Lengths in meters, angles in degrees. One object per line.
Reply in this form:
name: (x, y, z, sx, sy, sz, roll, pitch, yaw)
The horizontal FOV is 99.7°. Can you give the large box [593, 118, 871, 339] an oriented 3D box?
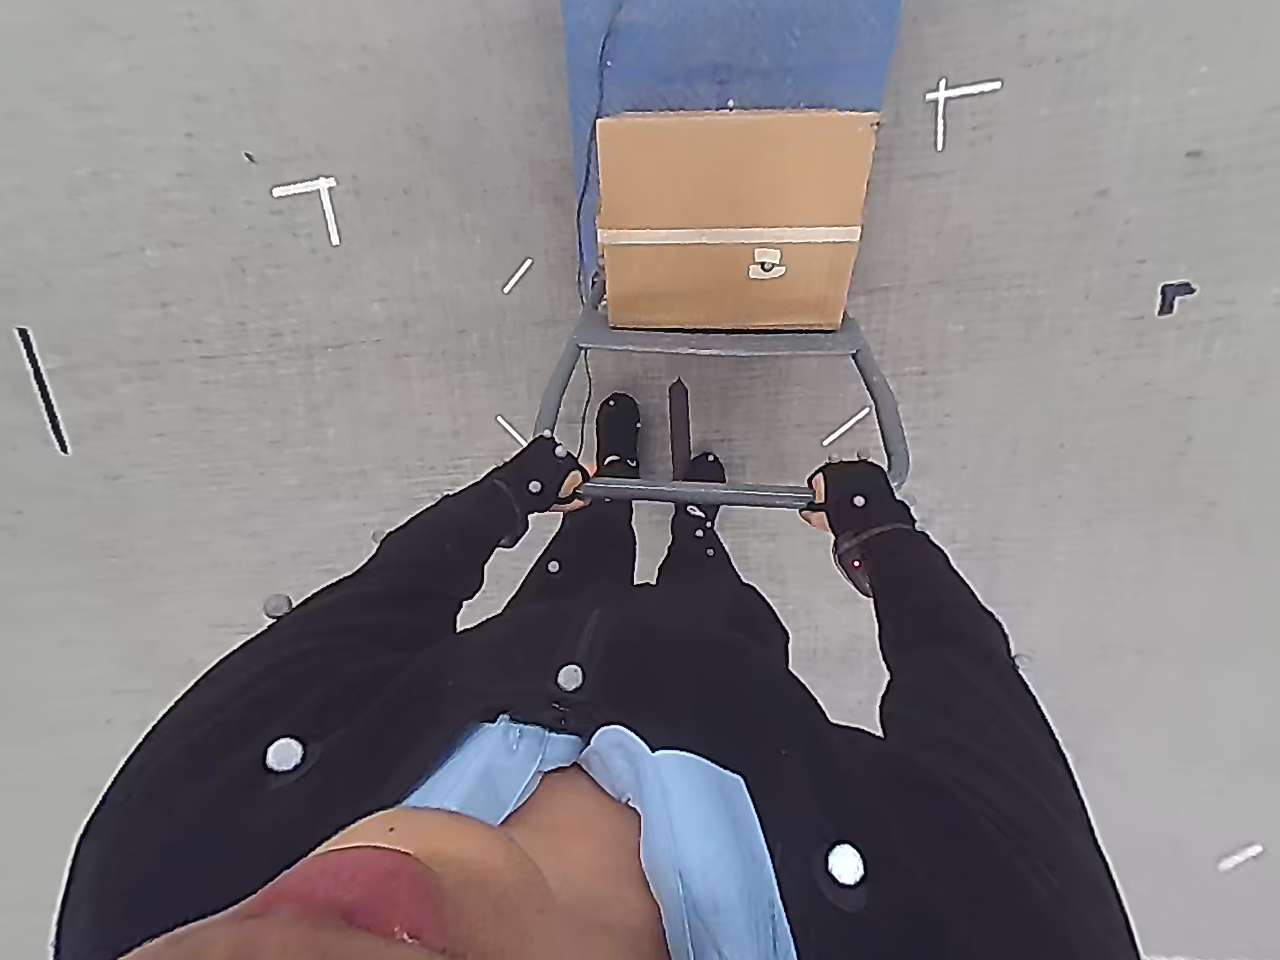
large box: (0.145, -0.462, 0.980, 0.408, 0.320, 0.320, 1, 126, 5)
